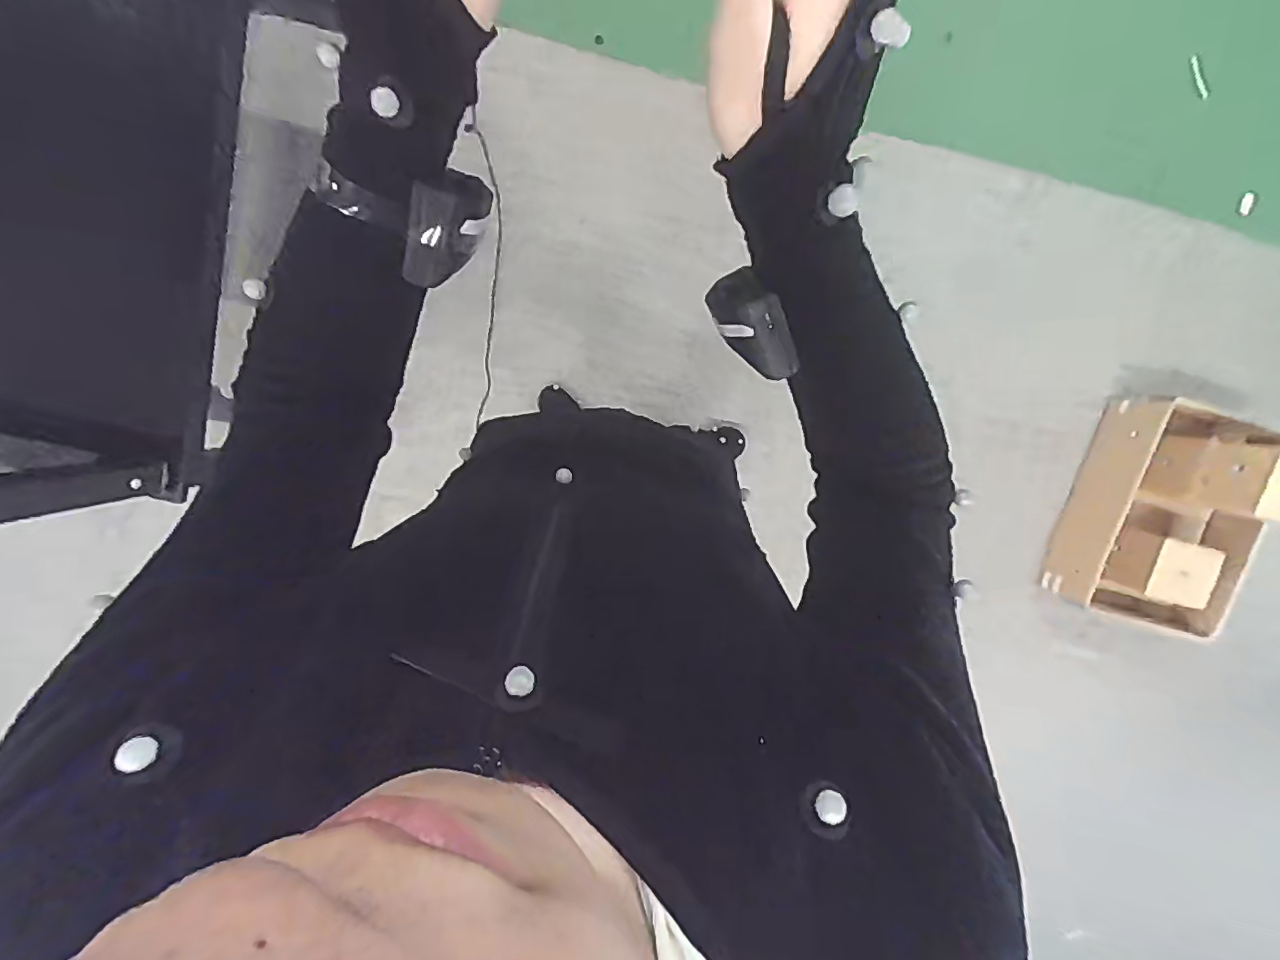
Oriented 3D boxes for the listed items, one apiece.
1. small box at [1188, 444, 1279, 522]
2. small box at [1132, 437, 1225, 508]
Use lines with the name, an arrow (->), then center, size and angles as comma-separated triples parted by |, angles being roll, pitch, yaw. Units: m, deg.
small box -> 1.537, 0.009, 1.338 | 0.179, 0.176, 0.168 | 14, 98, -3
small box -> 1.537, -0.020, 1.498 | 0.179, 0.176, 0.168 | 14, 99, -3
